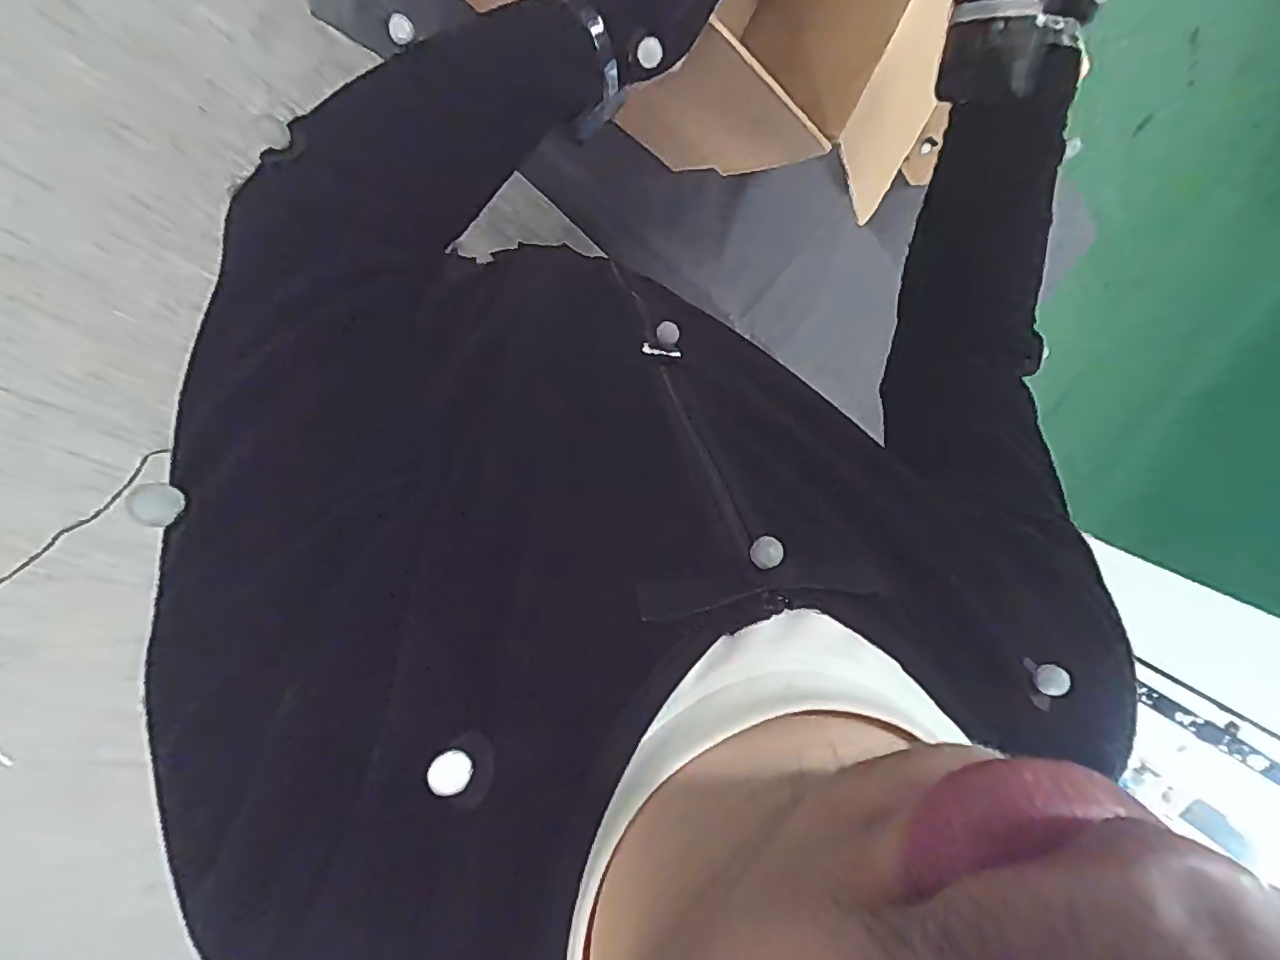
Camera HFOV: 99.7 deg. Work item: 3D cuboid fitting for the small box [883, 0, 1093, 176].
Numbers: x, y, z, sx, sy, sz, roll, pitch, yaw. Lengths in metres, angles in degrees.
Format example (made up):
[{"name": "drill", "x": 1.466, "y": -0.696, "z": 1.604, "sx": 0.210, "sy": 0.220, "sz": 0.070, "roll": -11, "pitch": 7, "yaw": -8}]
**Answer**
[{"name": "small box", "x": 0.477, "y": -0.560, "z": 0.765, "sx": 0.168, "sy": 0.176, "sz": 0.179, "roll": 32, "pitch": 98, "yaw": -35}]
